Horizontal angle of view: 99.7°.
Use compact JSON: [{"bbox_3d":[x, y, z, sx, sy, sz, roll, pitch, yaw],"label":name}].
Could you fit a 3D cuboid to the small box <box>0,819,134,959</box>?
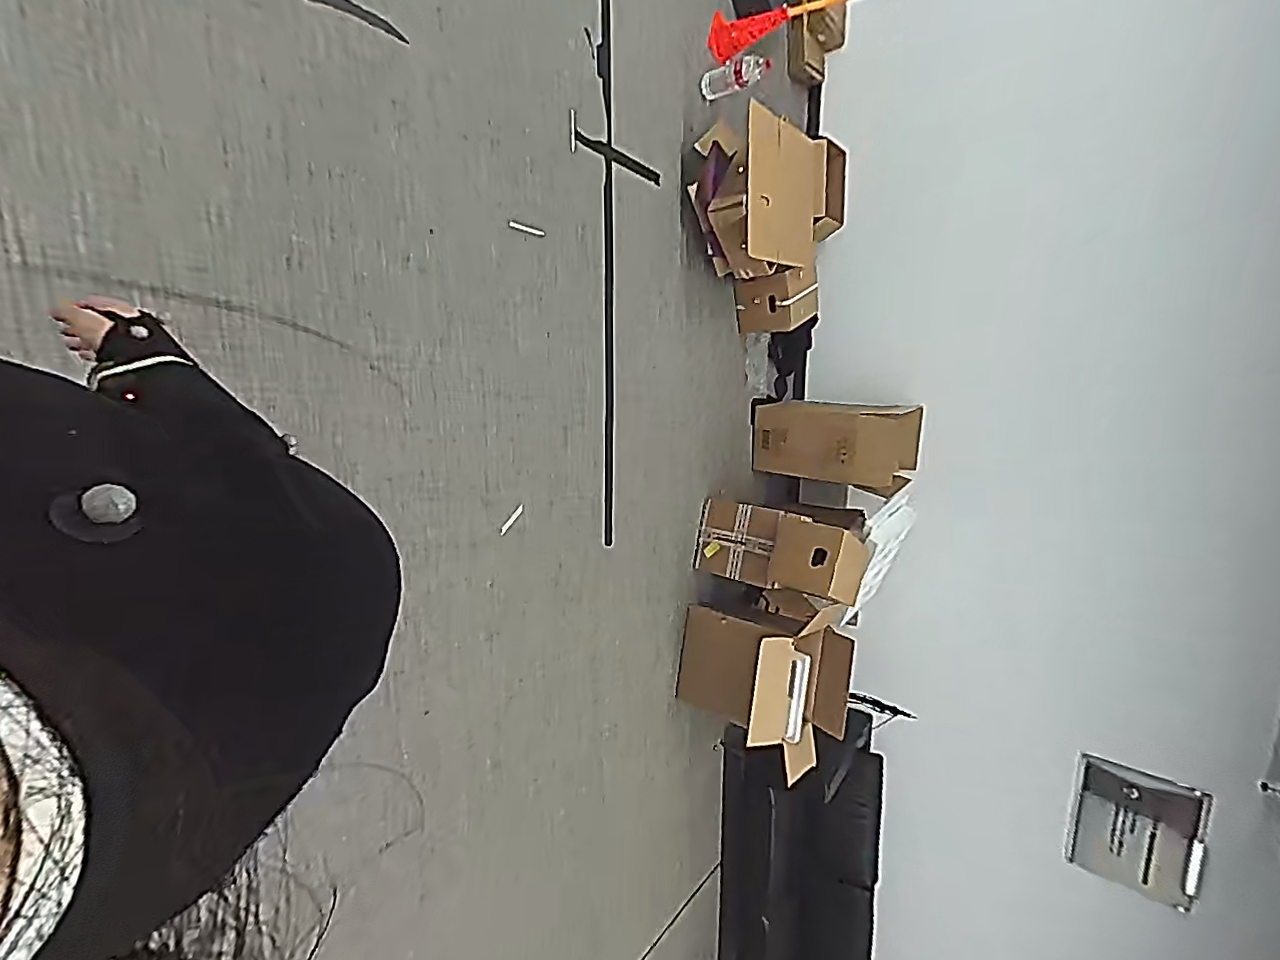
[{"bbox_3d":[-0.701,0.525,0.611,0.168,0.176,0.179,-6,101,-51],"label":"small box"}]
